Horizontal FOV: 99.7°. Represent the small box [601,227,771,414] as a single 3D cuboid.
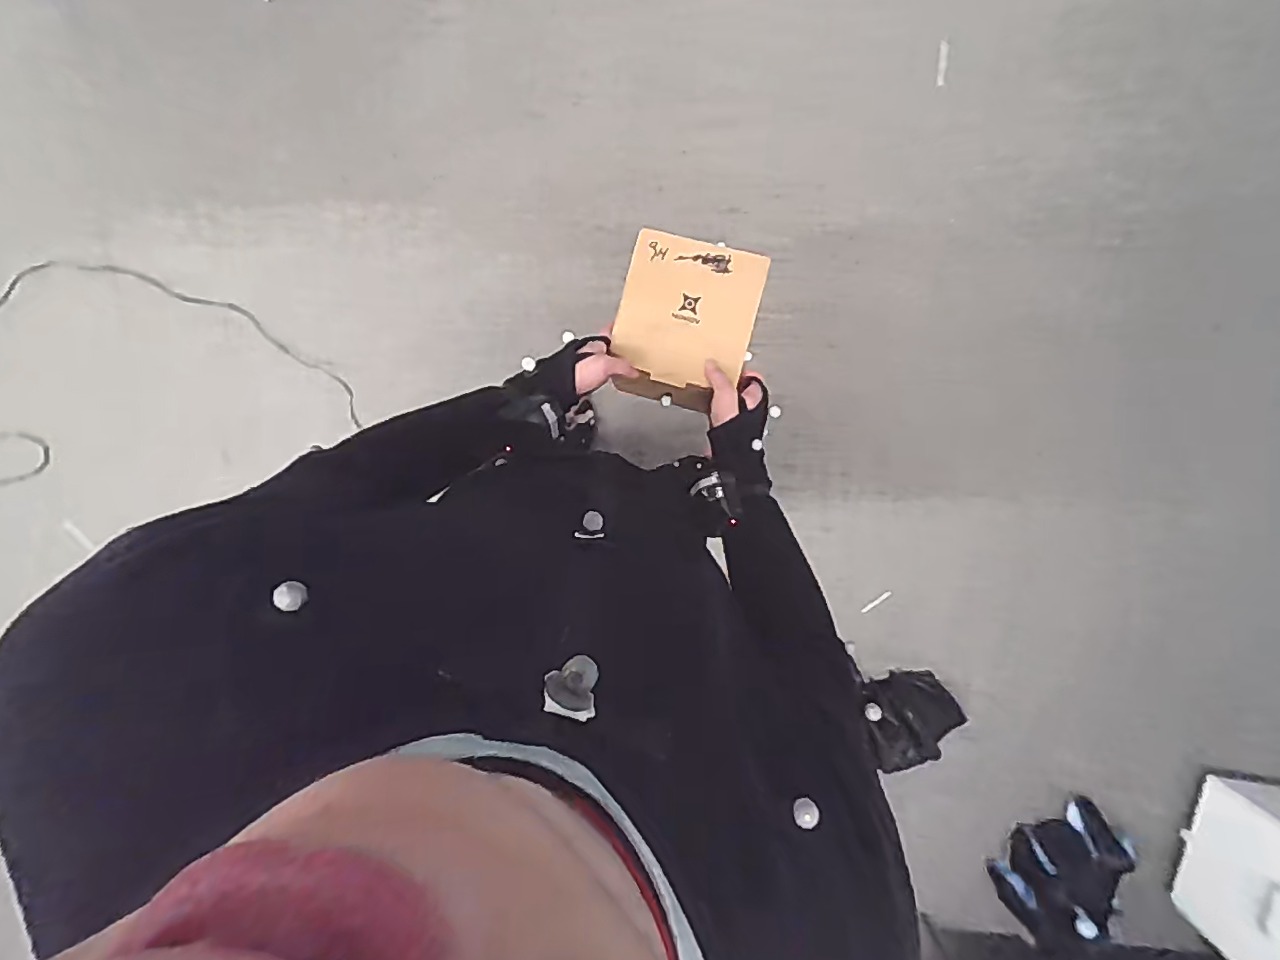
[{"bbox_3d":[0.059,-0.196,0.716,0.168,0.176,0.179,15,90,3],"label":"small box"}]
